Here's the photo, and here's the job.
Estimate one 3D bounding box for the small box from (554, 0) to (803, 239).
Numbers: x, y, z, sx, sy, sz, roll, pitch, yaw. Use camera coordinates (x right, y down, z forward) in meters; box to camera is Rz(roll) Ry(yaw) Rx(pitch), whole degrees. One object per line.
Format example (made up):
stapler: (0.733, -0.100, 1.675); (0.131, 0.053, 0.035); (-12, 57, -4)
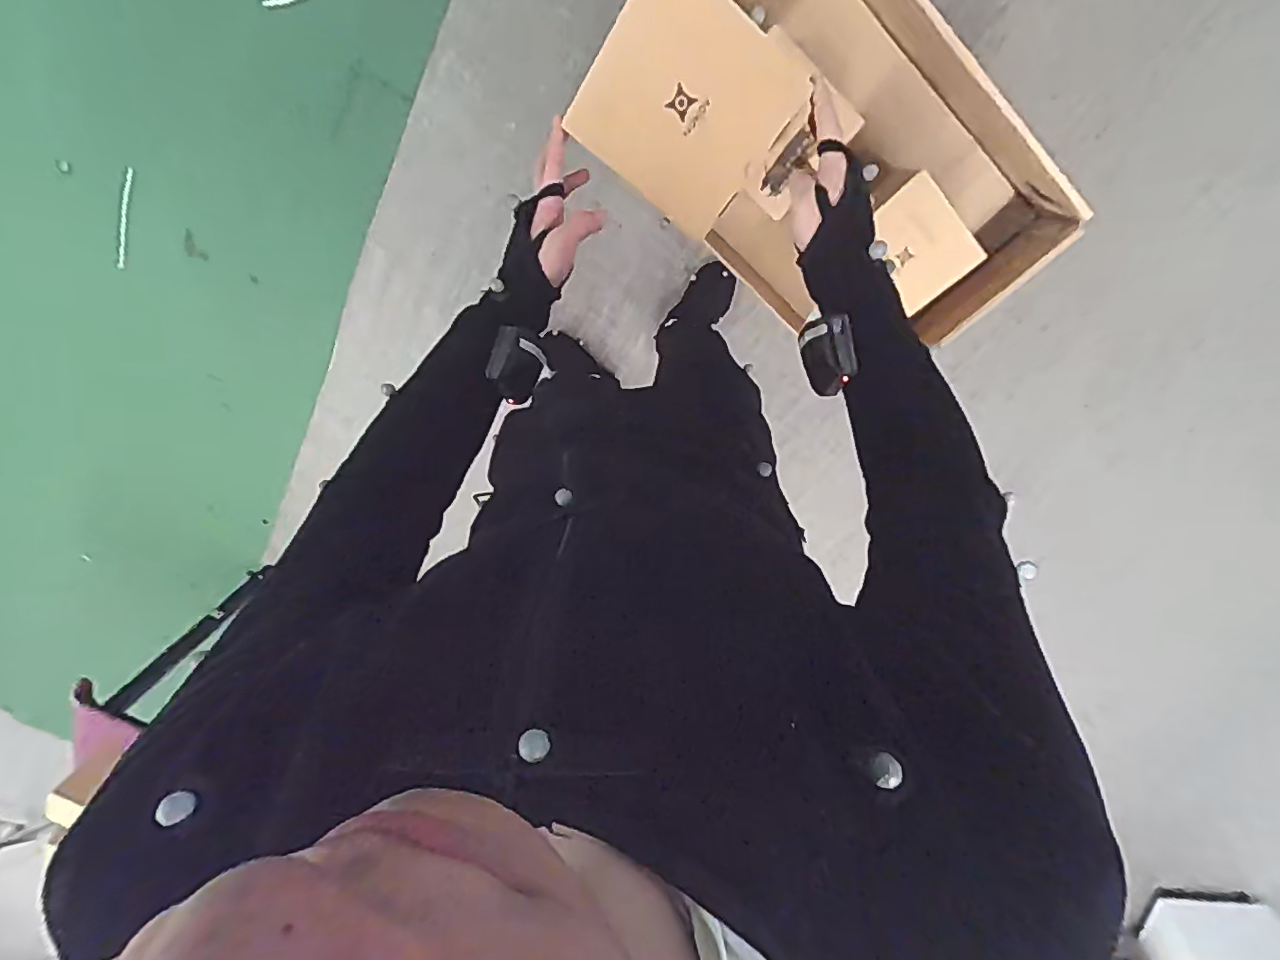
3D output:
small box: (0.037, -0.391, 0.569); (0.179, 0.176, 0.168); (32, 121, -18)

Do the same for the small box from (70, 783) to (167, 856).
small box: (-1.722, 1.100, 1.793); (0.168, 0.176, 0.179); (30, 120, -10)

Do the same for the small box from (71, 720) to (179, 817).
small box: (-1.532, 0.859, 1.615); (0.168, 0.176, 0.179); (33, 120, -10)

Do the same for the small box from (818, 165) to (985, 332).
small box: (0.408, -0.377, 0.879); (0.168, 0.176, 0.179); (43, 119, -15)
